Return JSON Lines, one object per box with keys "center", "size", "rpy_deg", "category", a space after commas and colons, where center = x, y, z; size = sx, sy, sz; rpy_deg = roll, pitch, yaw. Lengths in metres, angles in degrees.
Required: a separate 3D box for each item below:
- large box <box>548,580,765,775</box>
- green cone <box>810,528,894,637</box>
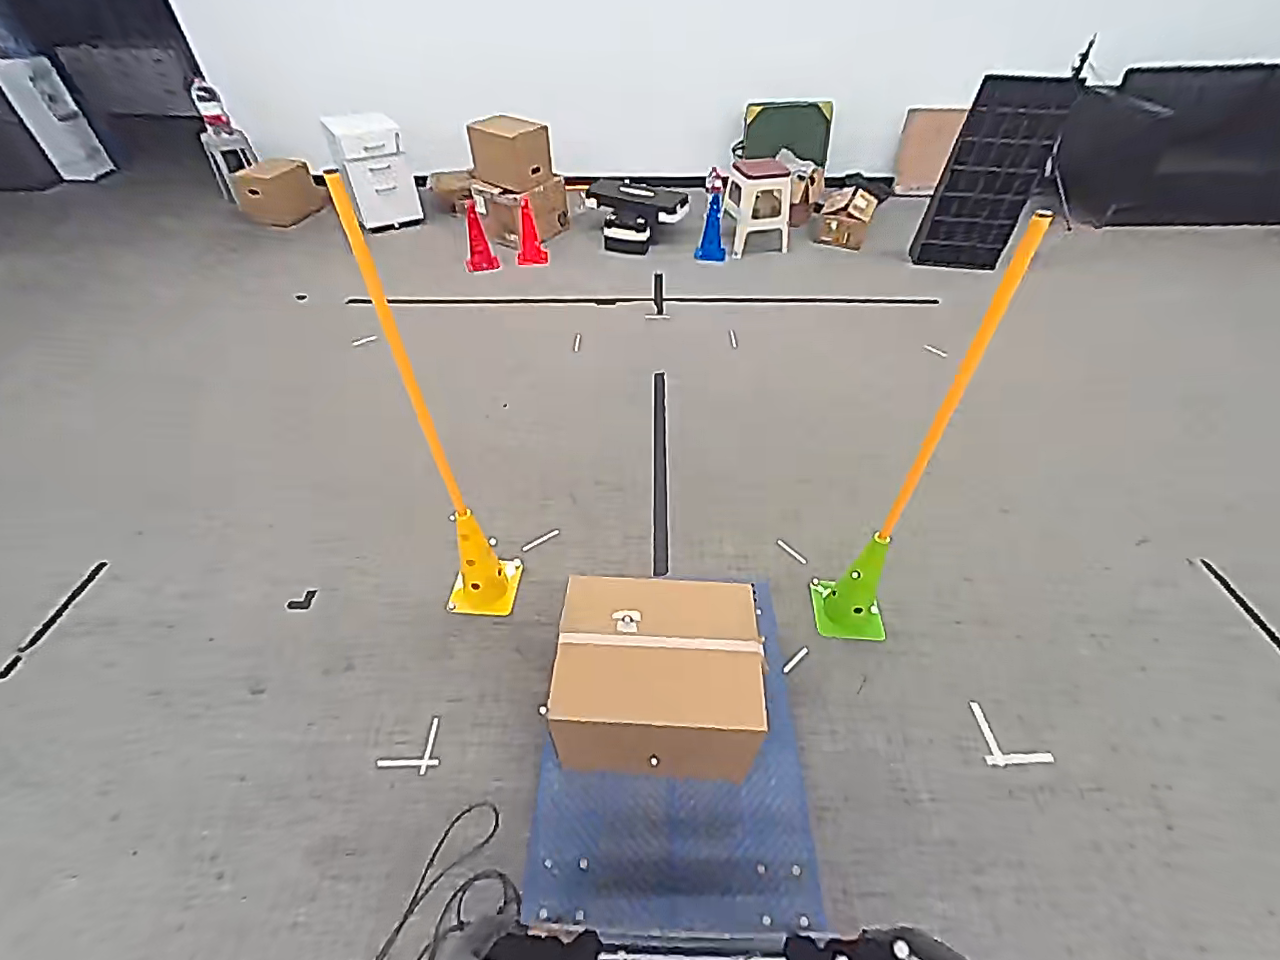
{"center": [0.038, 0.438, 1.191], "size": [0.408, 0.320, 0.320], "rpy_deg": [2, 46, 3], "category": "large box"}
{"center": [0.644, 0.271, 1.558], "size": [0.202, 0.368, 0.200], "rpy_deg": [4, 46, 2], "category": "green cone"}
